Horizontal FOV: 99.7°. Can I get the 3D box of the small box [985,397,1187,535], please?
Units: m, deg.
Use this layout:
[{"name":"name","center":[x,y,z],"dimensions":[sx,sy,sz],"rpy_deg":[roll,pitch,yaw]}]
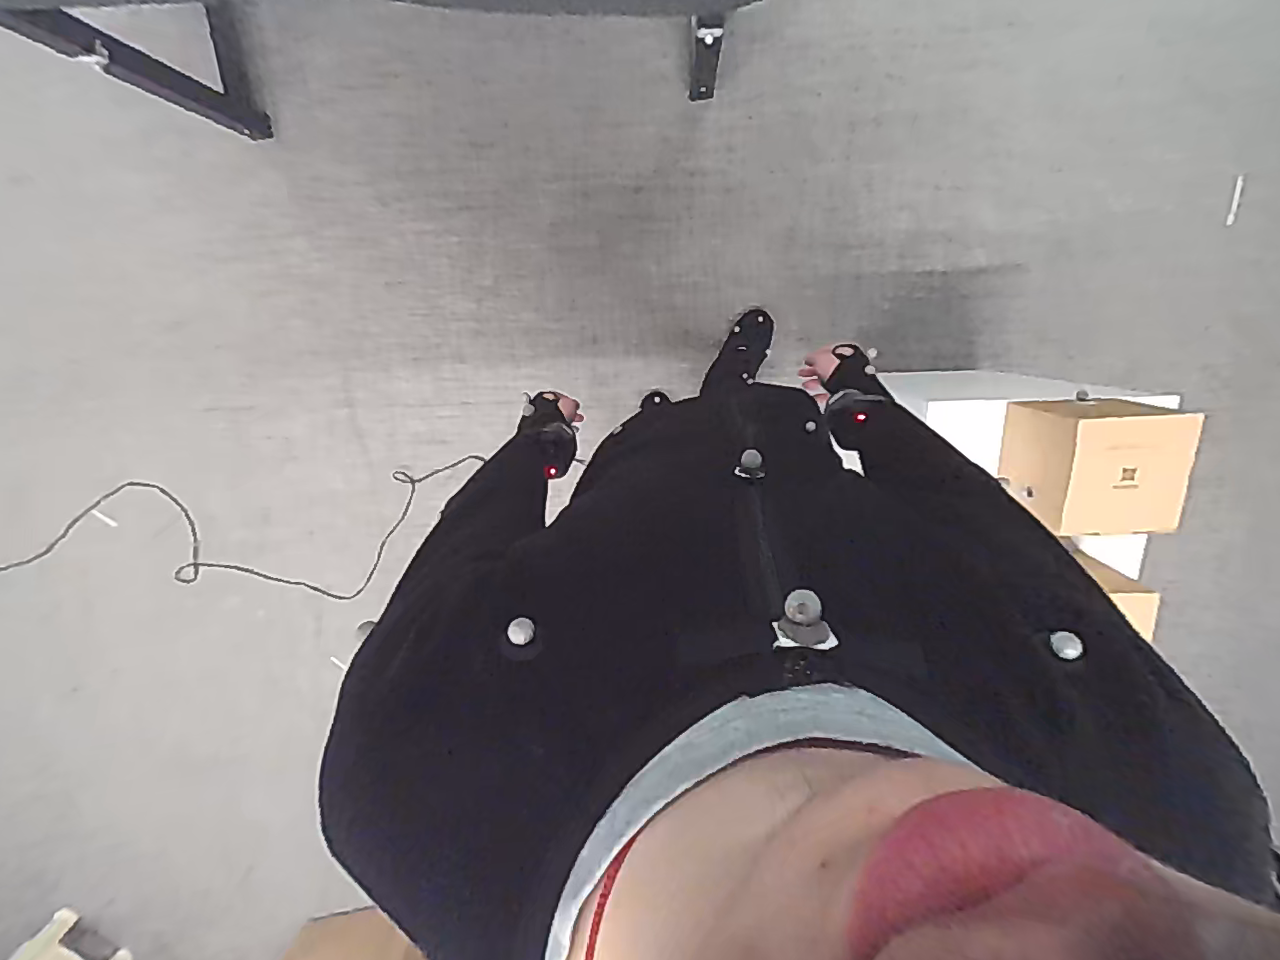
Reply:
[{"name":"small box","center":[0.671,-0.028,0.840],"dimensions":[0.168,0.176,0.179],"rpy_deg":[-3,106,1]}]
